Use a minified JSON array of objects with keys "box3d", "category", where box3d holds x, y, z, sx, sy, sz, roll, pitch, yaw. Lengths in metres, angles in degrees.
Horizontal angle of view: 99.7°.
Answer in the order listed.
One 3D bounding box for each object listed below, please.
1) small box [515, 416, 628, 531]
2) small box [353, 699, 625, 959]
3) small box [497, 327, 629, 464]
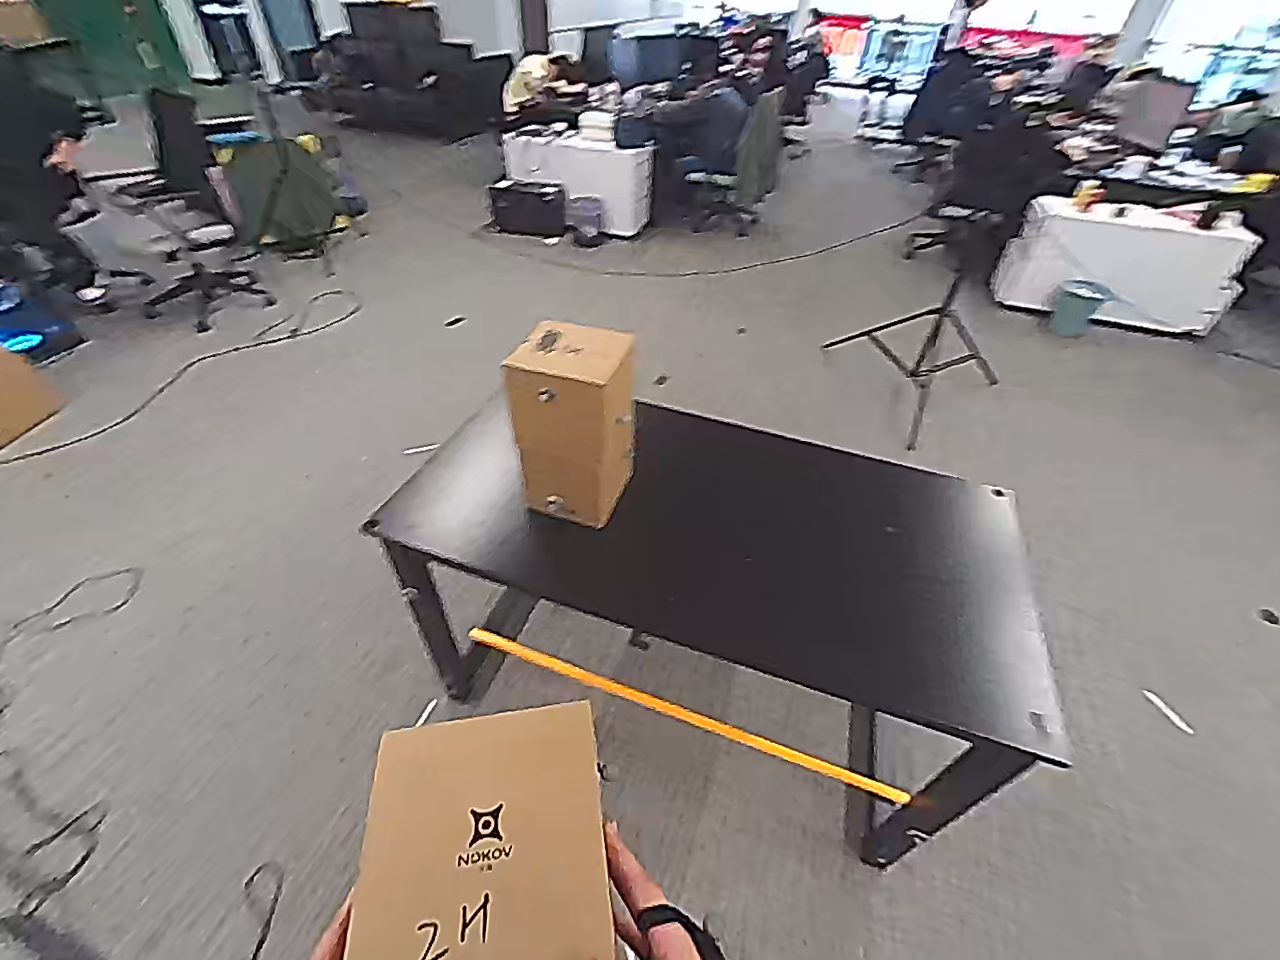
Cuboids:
[{"box3d":[-0.129,-0.030,1.071,0.168,0.176,0.179,13,44,12],"category":"small box"},{"box3d":[-0.104,0.306,0.434,0.168,0.176,0.179,-6,44,-6],"category":"small box"},{"box3d":[-0.127,-0.148,0.956,0.179,0.176,0.168,12,43,10],"category":"small box"}]
